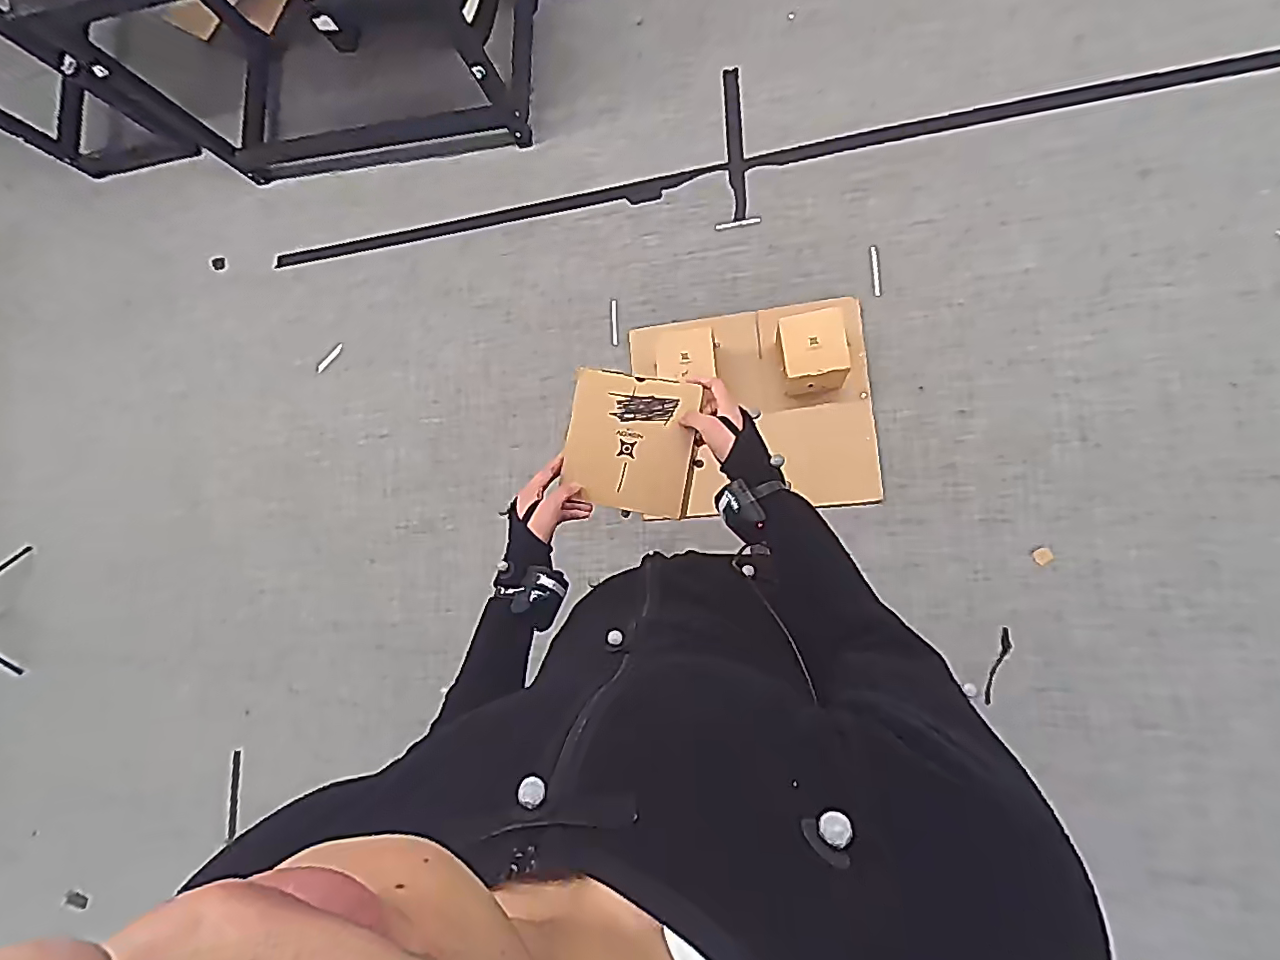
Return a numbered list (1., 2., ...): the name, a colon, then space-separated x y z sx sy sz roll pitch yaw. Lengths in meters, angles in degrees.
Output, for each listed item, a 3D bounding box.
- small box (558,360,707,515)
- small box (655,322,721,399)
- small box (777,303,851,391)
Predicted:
1. small box: -0.002 -0.054 0.769 0.168 0.176 0.179 11 91 8
2. small box: 0.144 -0.338 1.582 0.168 0.176 0.179 -6 84 13
3. small box: 0.480 -0.366 1.515 0.168 0.176 0.179 -9 83 12
